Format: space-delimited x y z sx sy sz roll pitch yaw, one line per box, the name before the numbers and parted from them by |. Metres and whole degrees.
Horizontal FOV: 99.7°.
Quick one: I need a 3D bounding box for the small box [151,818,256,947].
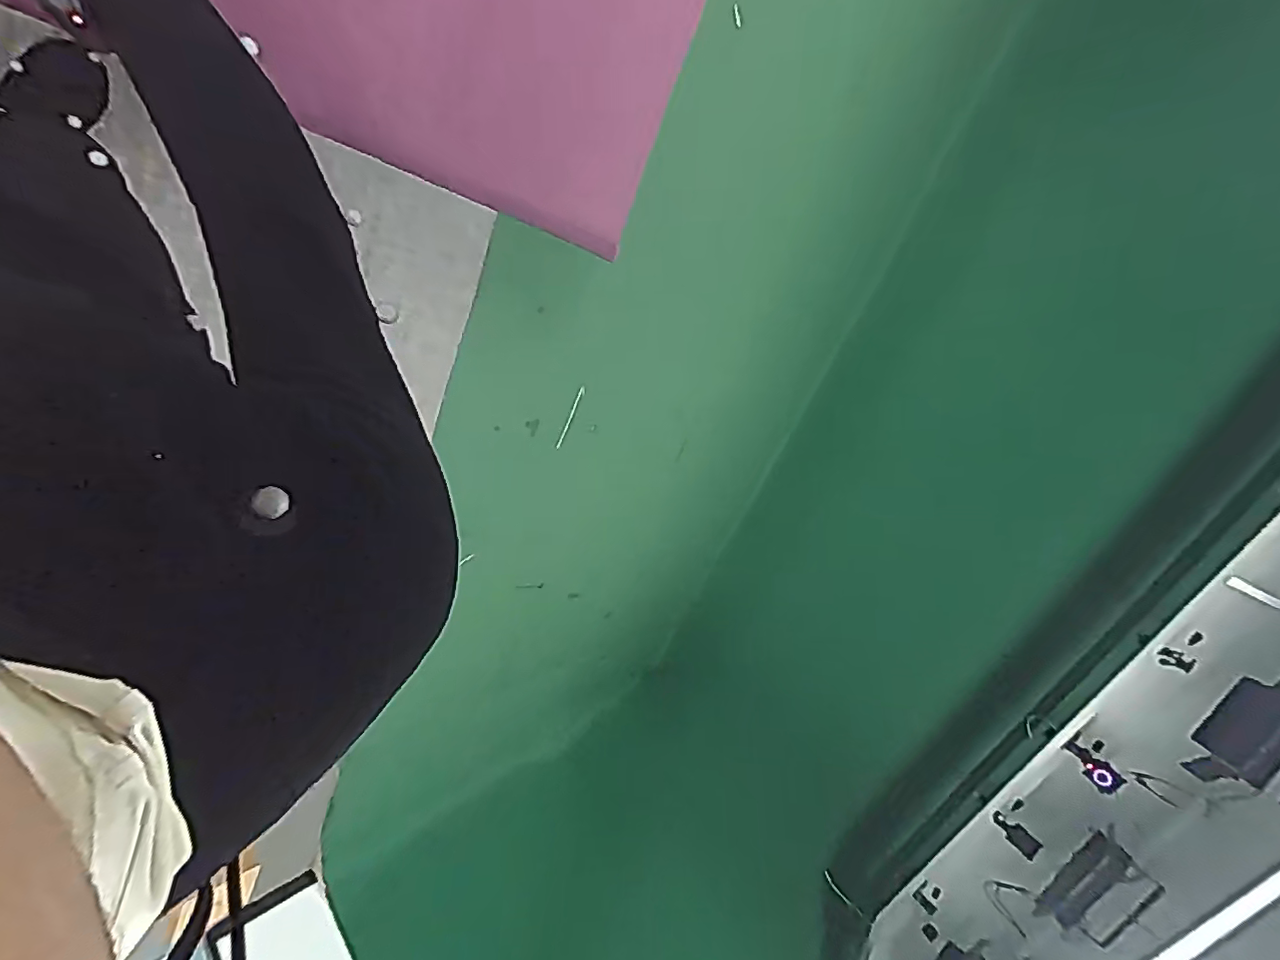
small box | -1.141 1.036 1.408 0.168 0.176 0.179 0 122 -55
